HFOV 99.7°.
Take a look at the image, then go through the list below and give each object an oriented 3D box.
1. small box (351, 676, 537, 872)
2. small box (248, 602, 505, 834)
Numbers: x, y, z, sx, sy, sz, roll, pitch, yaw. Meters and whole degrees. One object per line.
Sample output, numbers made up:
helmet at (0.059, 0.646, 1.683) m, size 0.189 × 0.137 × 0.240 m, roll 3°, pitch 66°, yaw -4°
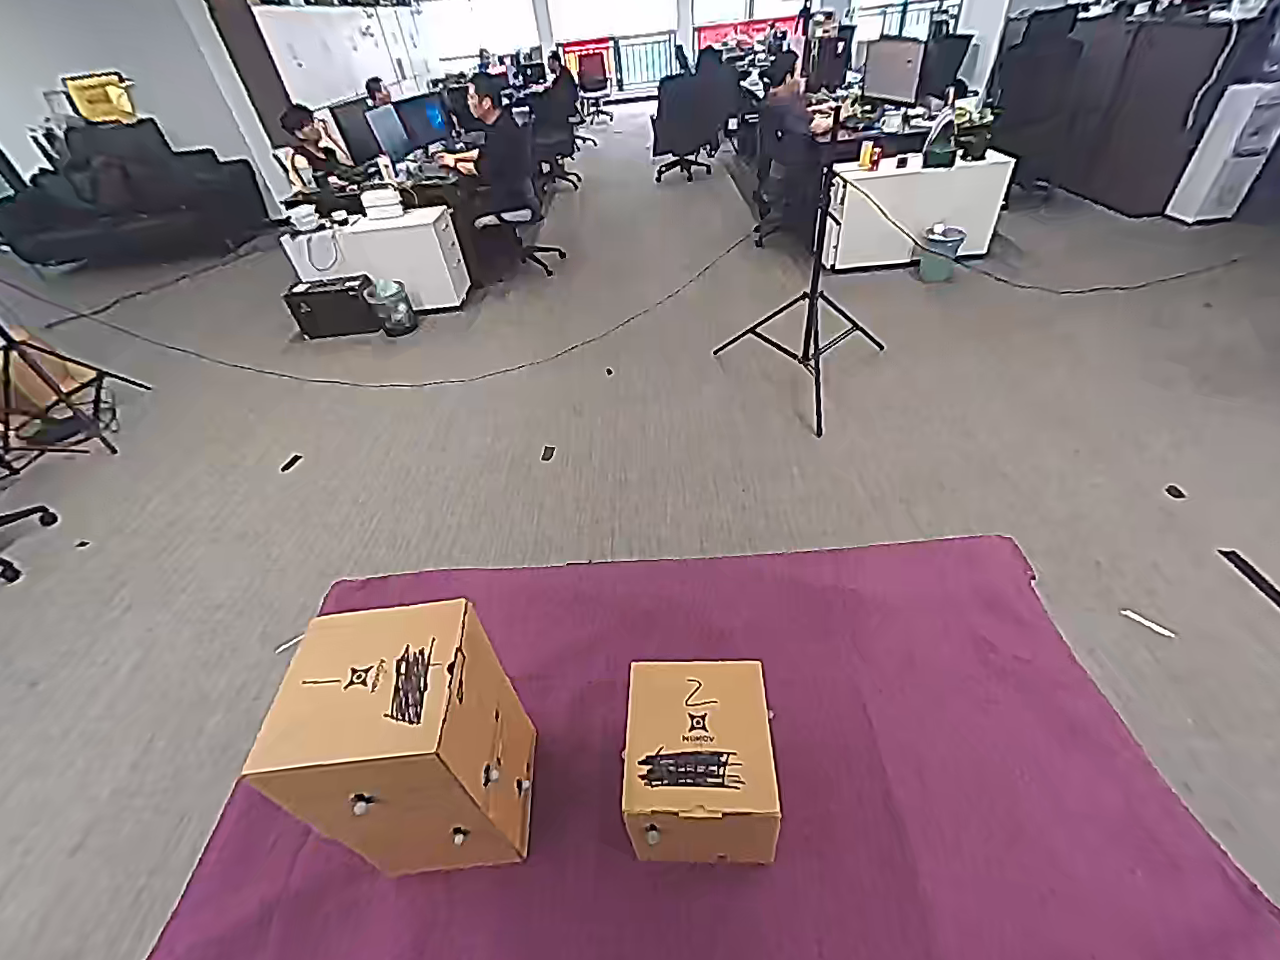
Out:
small box at (-0.241, 0.377, 0.691) m, size 0.179 × 0.176 × 0.168 m, roll -6°, pitch 41°, yaw 0°
small box at (-0.254, 0.255, 0.581) m, size 0.179 × 0.176 × 0.168 m, roll -7°, pitch 40°, yaw 0°
